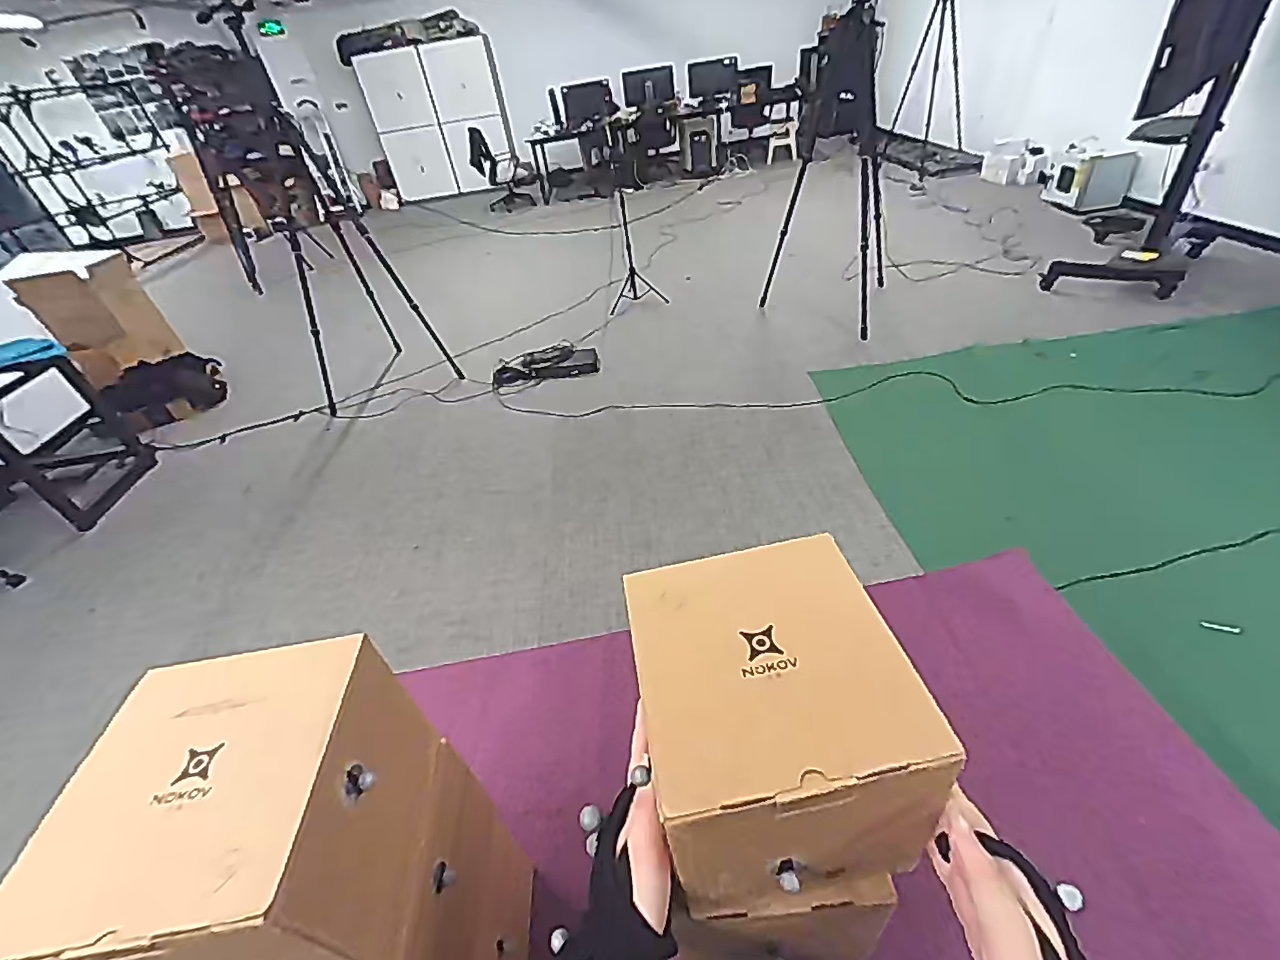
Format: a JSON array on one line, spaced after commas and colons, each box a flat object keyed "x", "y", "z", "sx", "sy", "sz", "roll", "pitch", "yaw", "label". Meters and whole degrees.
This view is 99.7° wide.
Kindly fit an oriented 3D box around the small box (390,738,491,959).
[{"x": -0.247, "y": 0.365, "z": 0.489, "sx": 0.168, "sy": 0.176, "sz": 0.179, "roll": -7, "pitch": 38, "yaw": 2, "label": "small box"}]

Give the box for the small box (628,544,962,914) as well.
[{"x": 0.088, "y": 0.176, "z": 0.396, "sx": 0.168, "sy": 0.176, "sz": 0.179, "roll": -10, "pitch": 39, "yaw": -2, "label": "small box"}]

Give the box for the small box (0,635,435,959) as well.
[{"x": -0.266, "y": 0.242, "z": 0.385, "sx": 0.168, "sy": 0.176, "sz": 0.179, "roll": -8, "pitch": 38, "yaw": 0, "label": "small box"}]

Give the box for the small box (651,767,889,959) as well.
[{"x": 0.099, "y": 0.311, "z": 0.490, "sx": 0.168, "sy": 0.176, "sz": 0.179, "roll": -7, "pitch": 39, "yaw": 3, "label": "small box"}]

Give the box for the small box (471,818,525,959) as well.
[{"x": -0.229, "y": 0.497, "z": 0.587, "sx": 0.168, "sy": 0.176, "sz": 0.179, "roll": -7, "pitch": 39, "yaw": 0, "label": "small box"}]
